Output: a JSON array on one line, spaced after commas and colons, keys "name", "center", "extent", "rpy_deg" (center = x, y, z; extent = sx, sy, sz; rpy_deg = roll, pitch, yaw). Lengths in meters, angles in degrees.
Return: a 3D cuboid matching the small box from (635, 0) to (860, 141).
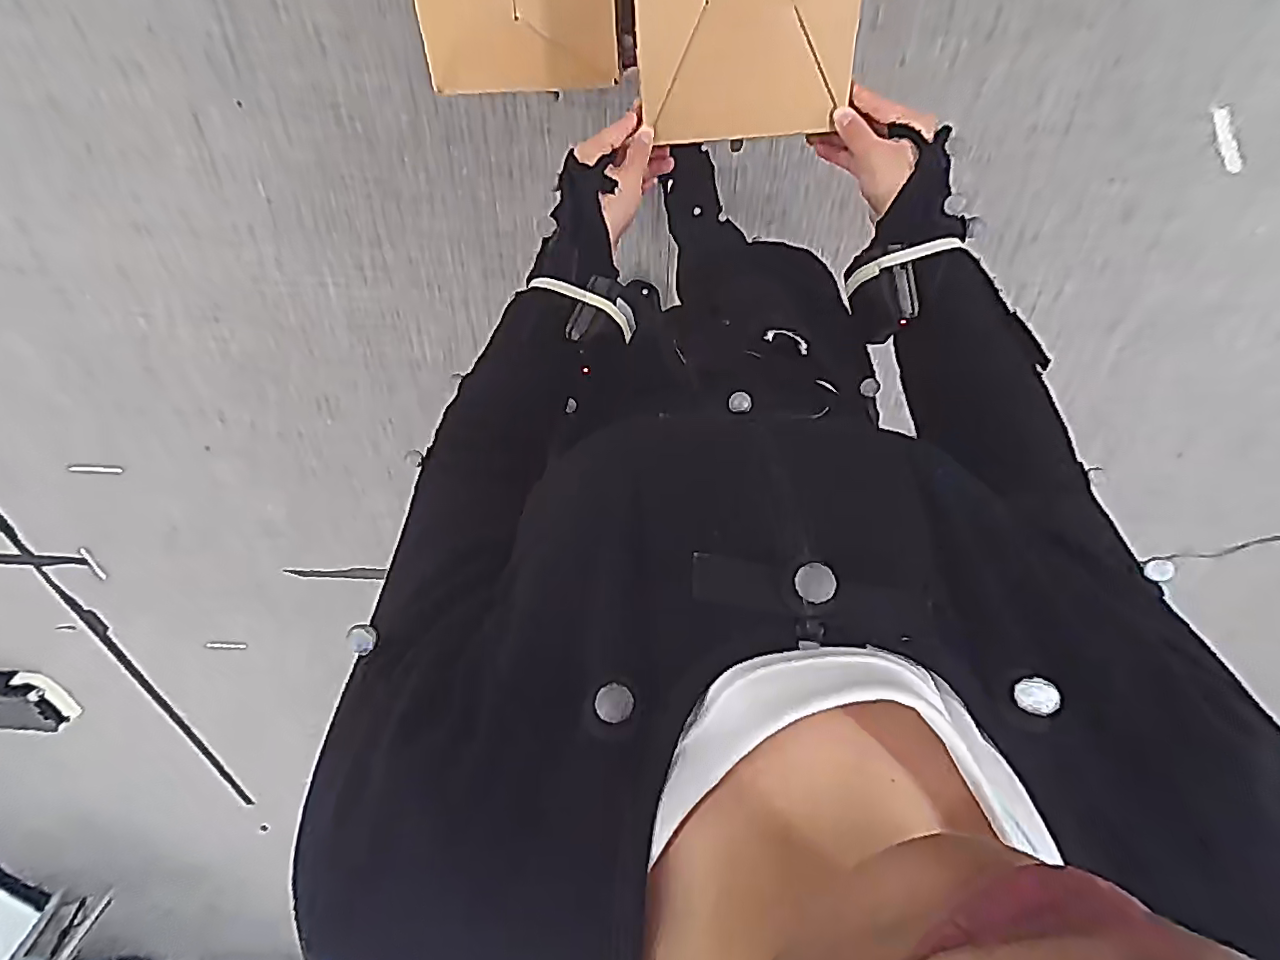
[{"name": "small box", "center": [0.080, -0.402, 0.464], "extent": [0.168, 0.176, 0.179], "rpy_deg": [-4, 126, 1]}]
